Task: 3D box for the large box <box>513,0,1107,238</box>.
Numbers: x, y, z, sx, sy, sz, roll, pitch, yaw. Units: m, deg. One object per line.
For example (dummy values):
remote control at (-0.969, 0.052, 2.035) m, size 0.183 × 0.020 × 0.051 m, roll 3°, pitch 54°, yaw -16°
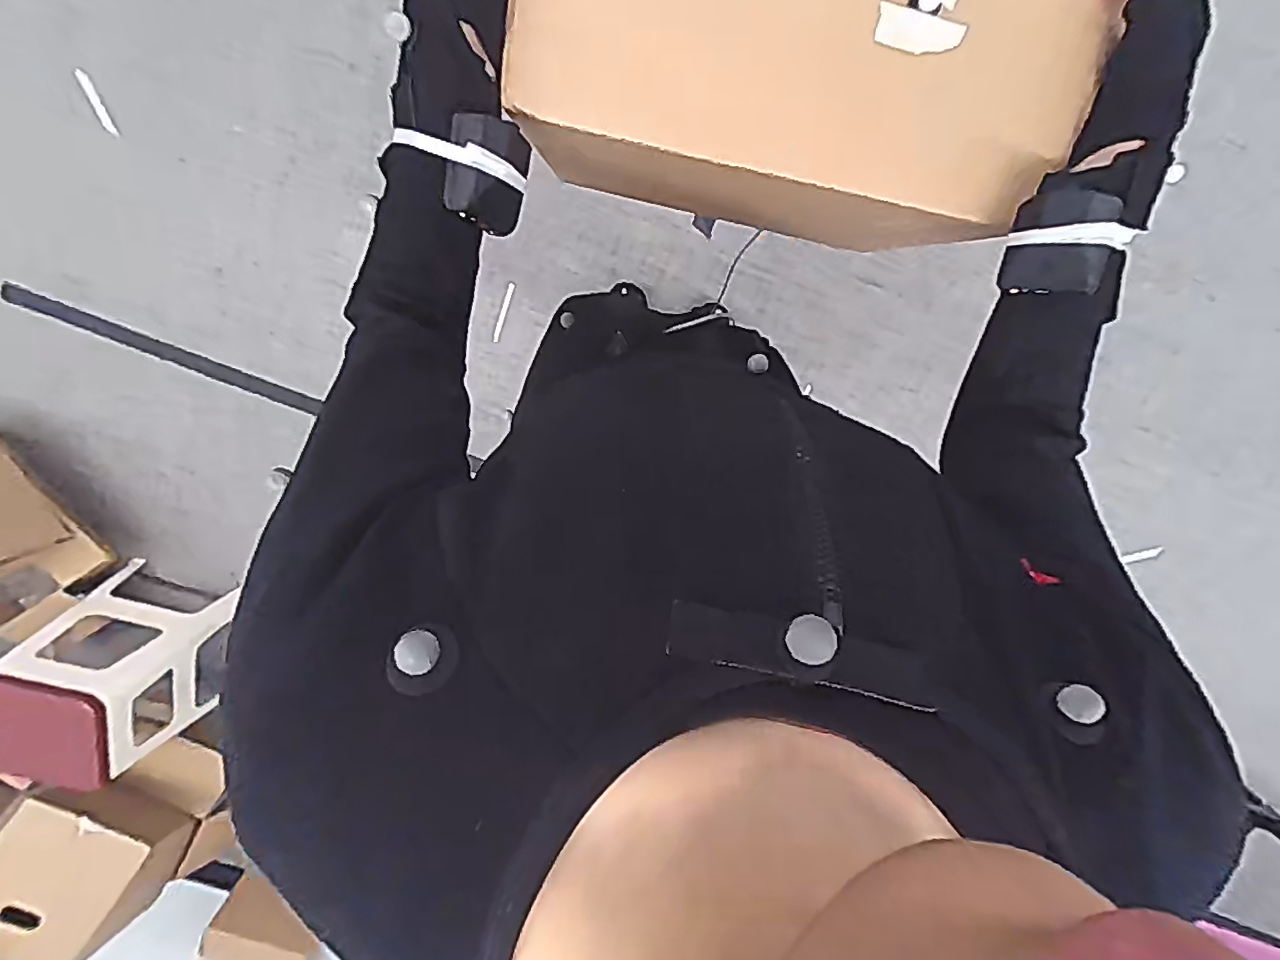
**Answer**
large box at (0.122, -0.427, 0.488) m, size 0.408 × 0.320 × 0.320 m, roll 10°, pitch 111°, yaw -5°
